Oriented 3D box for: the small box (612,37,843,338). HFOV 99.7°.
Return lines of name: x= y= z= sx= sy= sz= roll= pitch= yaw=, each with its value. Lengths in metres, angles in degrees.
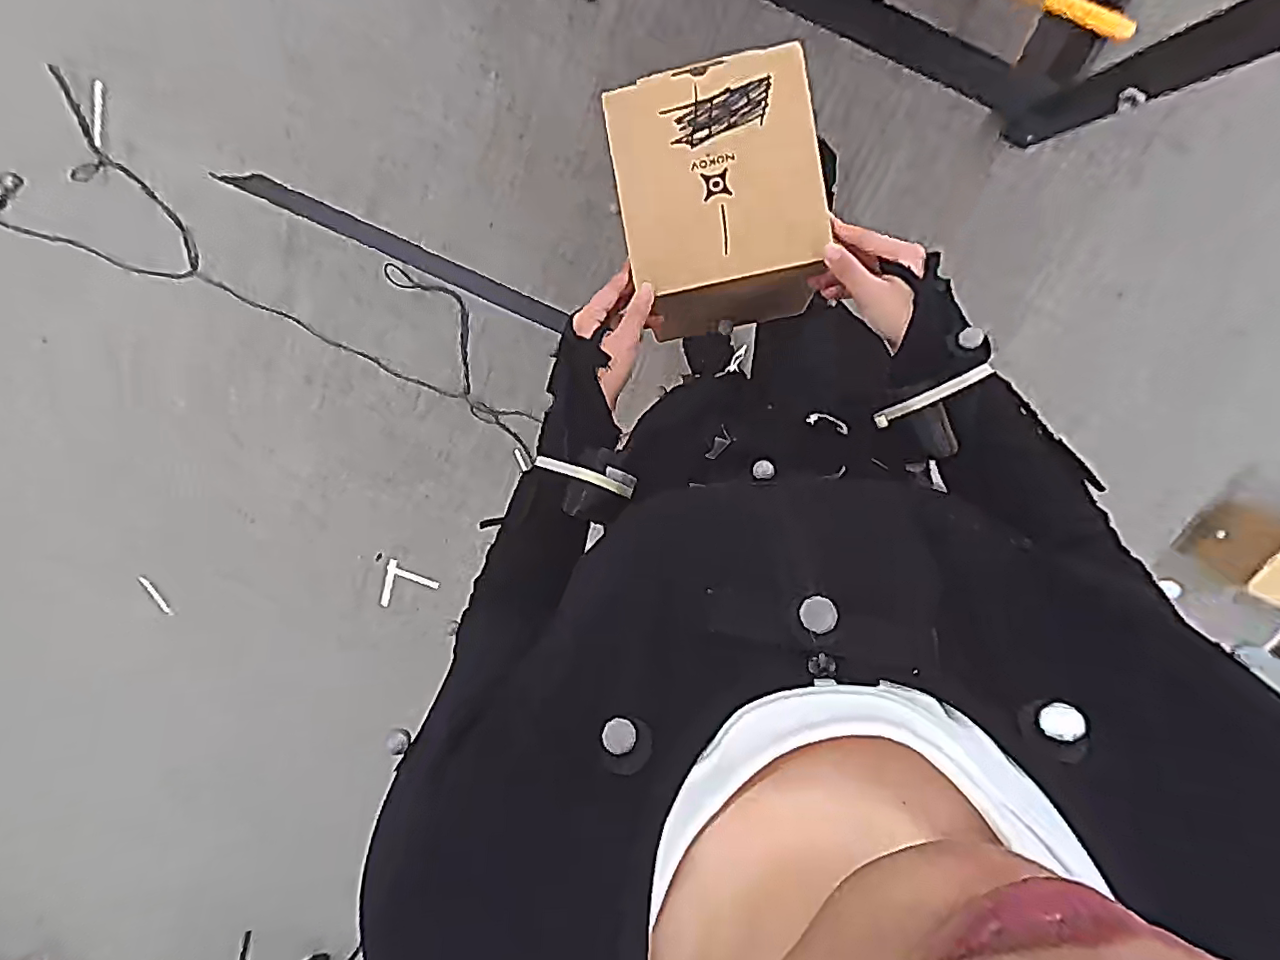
small box: x=0.078 y=-0.253 z=0.513 sx=0.168 sy=0.176 sz=0.179 roll=-10 pitch=91 yaw=8
